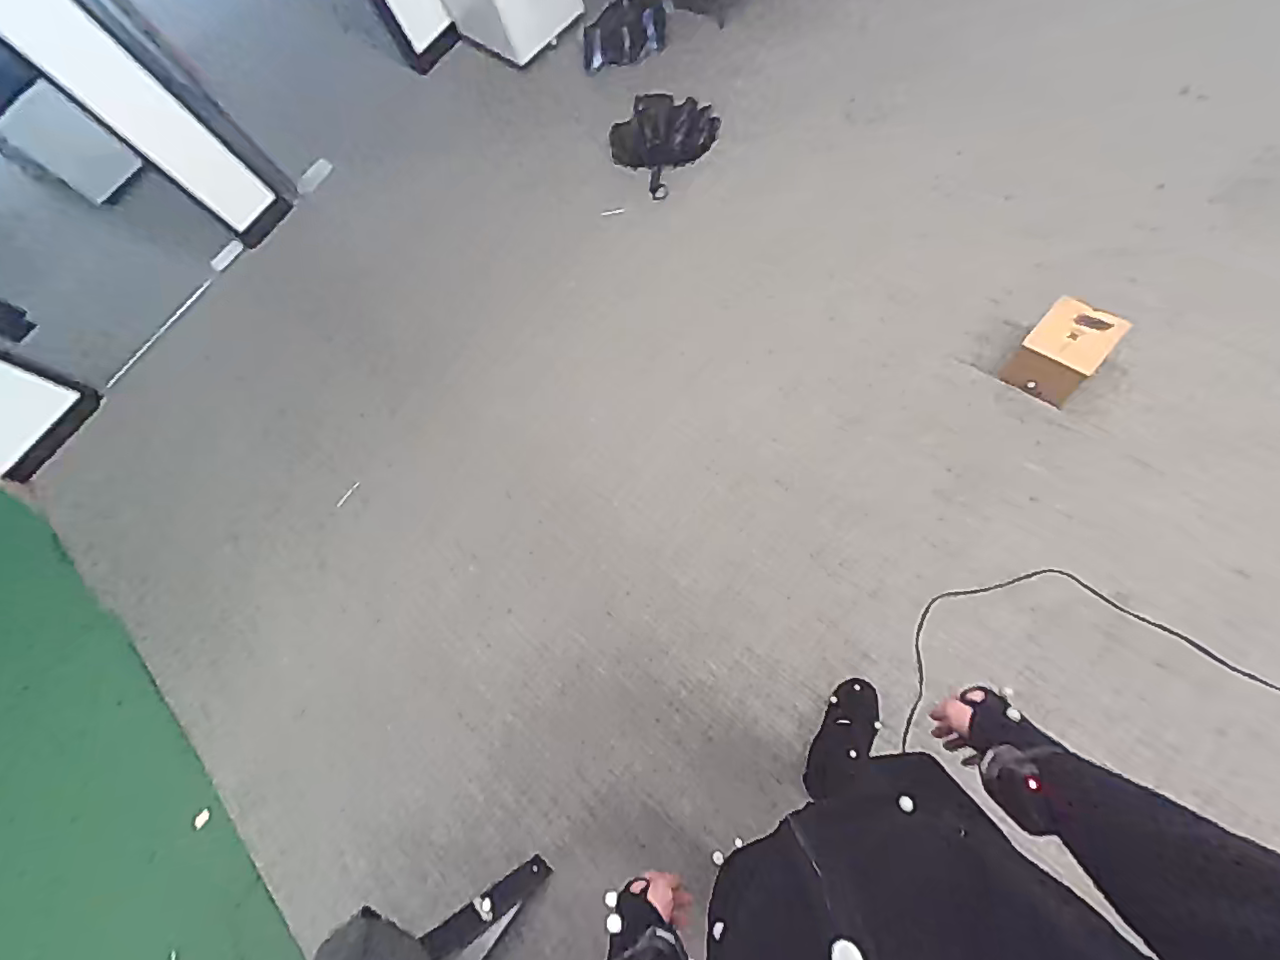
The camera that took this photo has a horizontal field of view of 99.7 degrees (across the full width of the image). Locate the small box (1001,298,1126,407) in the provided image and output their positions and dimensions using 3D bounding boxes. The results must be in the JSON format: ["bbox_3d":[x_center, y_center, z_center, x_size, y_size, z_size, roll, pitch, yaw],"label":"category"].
[{"bbox_3d":[1.076,-0.324,1.392,0.168,0.176,0.179,39,86,26],"label":"small box"}]
